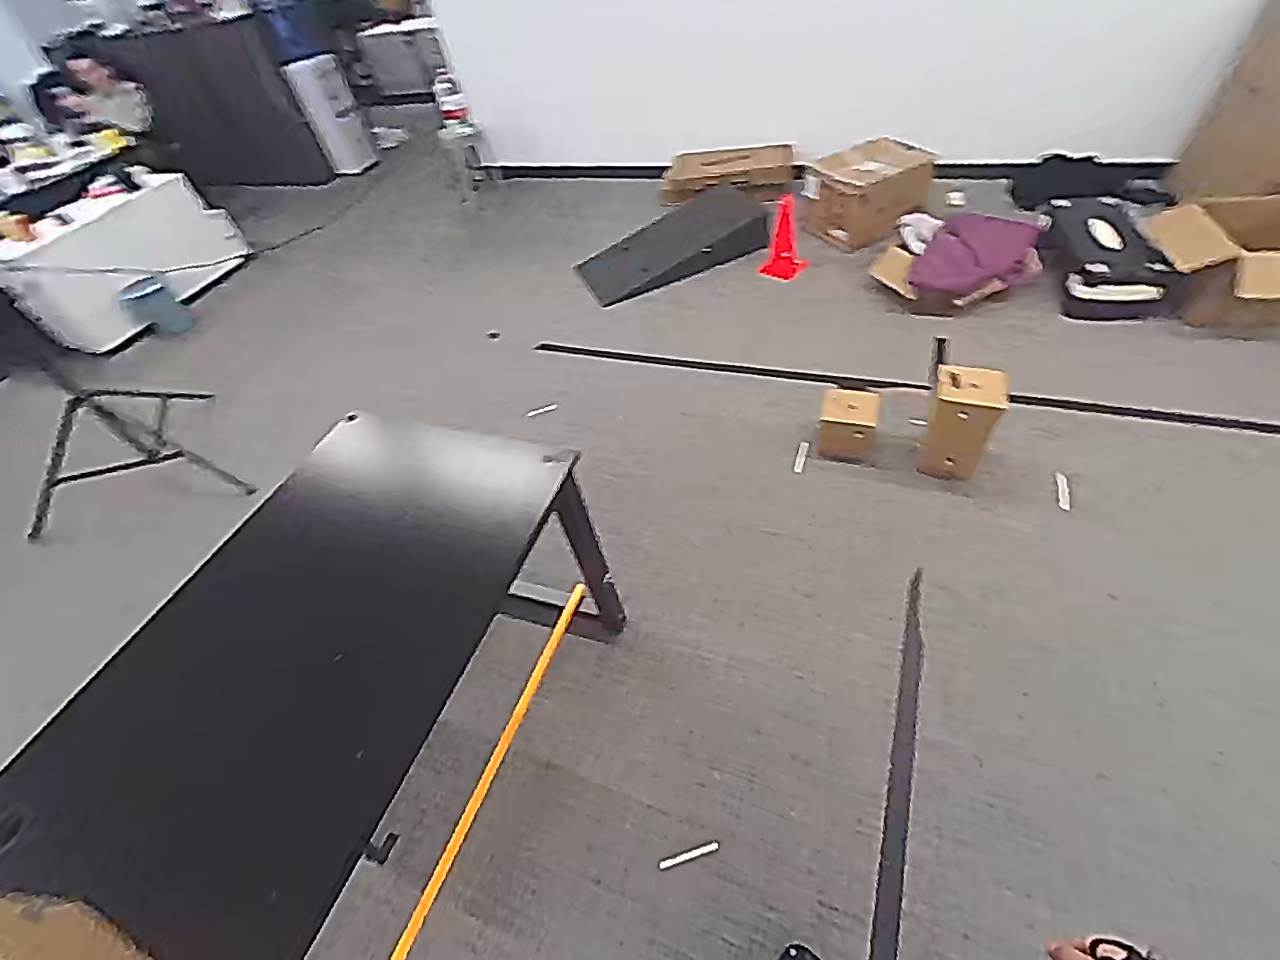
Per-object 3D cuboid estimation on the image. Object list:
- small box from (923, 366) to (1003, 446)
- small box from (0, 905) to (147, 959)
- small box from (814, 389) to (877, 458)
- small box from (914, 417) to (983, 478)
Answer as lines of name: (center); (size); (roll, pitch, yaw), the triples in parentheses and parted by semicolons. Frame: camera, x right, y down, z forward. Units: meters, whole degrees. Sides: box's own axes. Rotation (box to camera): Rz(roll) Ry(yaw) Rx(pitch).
small box: (0.985, -0.226, 1.662); (0.179, 0.176, 0.168); (11, 53, 18)
small box: (-0.664, 0.564, 0.546); (0.179, 0.176, 0.168); (12, 54, 19)
small box: (0.720, -0.195, 1.901); (0.179, 0.176, 0.168); (9, 52, 18)
small box: (1.023, -0.130, 1.793); (0.168, 0.176, 0.179); (13, 54, 20)
